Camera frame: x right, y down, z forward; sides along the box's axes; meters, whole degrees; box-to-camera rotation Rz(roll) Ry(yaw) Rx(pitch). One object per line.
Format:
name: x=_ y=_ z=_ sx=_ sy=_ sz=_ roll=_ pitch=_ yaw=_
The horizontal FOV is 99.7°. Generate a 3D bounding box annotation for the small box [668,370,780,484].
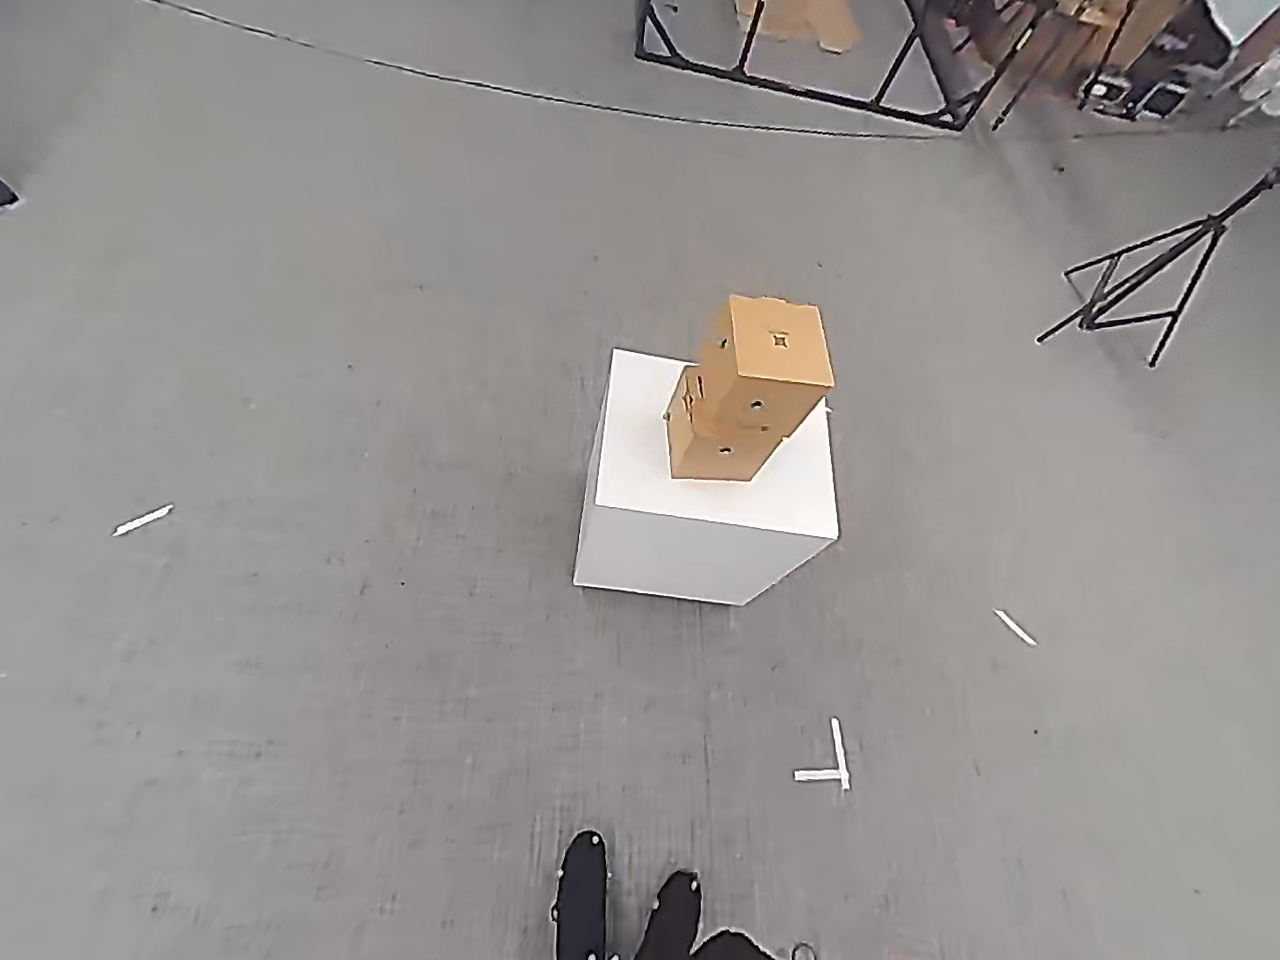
small box: x=0.158 y=-0.102 z=1.094 sx=0.179 sy=0.176 sz=0.168 roll=2 pitch=62 yaw=-12

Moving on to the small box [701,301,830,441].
small box: x=0.212 y=-0.186 z=0.964 sx=0.168 sy=0.176 sz=0.179 roll=5 pitch=61 yaw=-10
